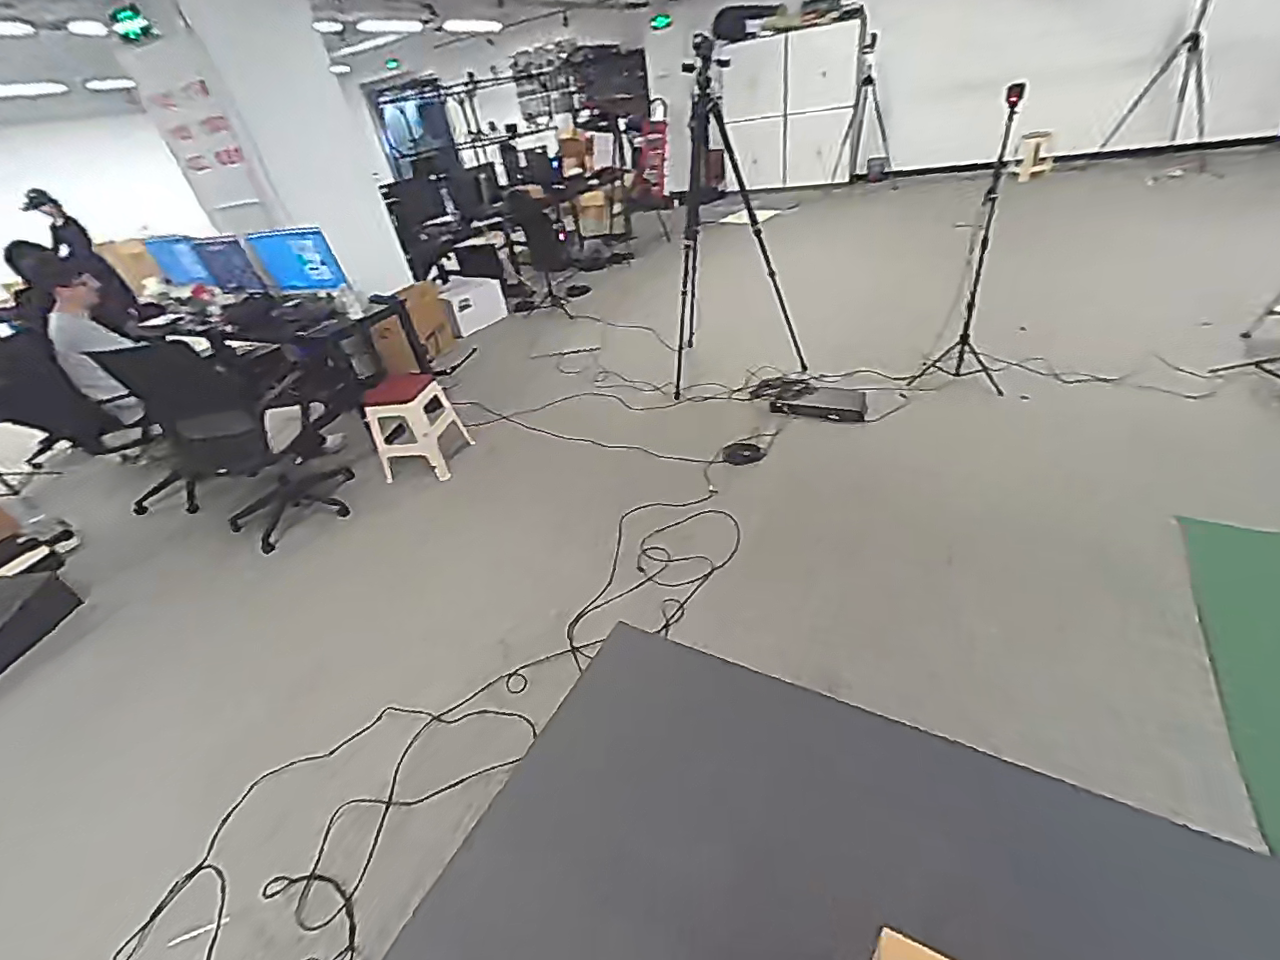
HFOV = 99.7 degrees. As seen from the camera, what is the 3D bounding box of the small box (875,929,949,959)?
[{"bbox_3d":[0.261,0.535,0.443,0.168,0.176,0.179,11,40,28],"label":"small box"}]
